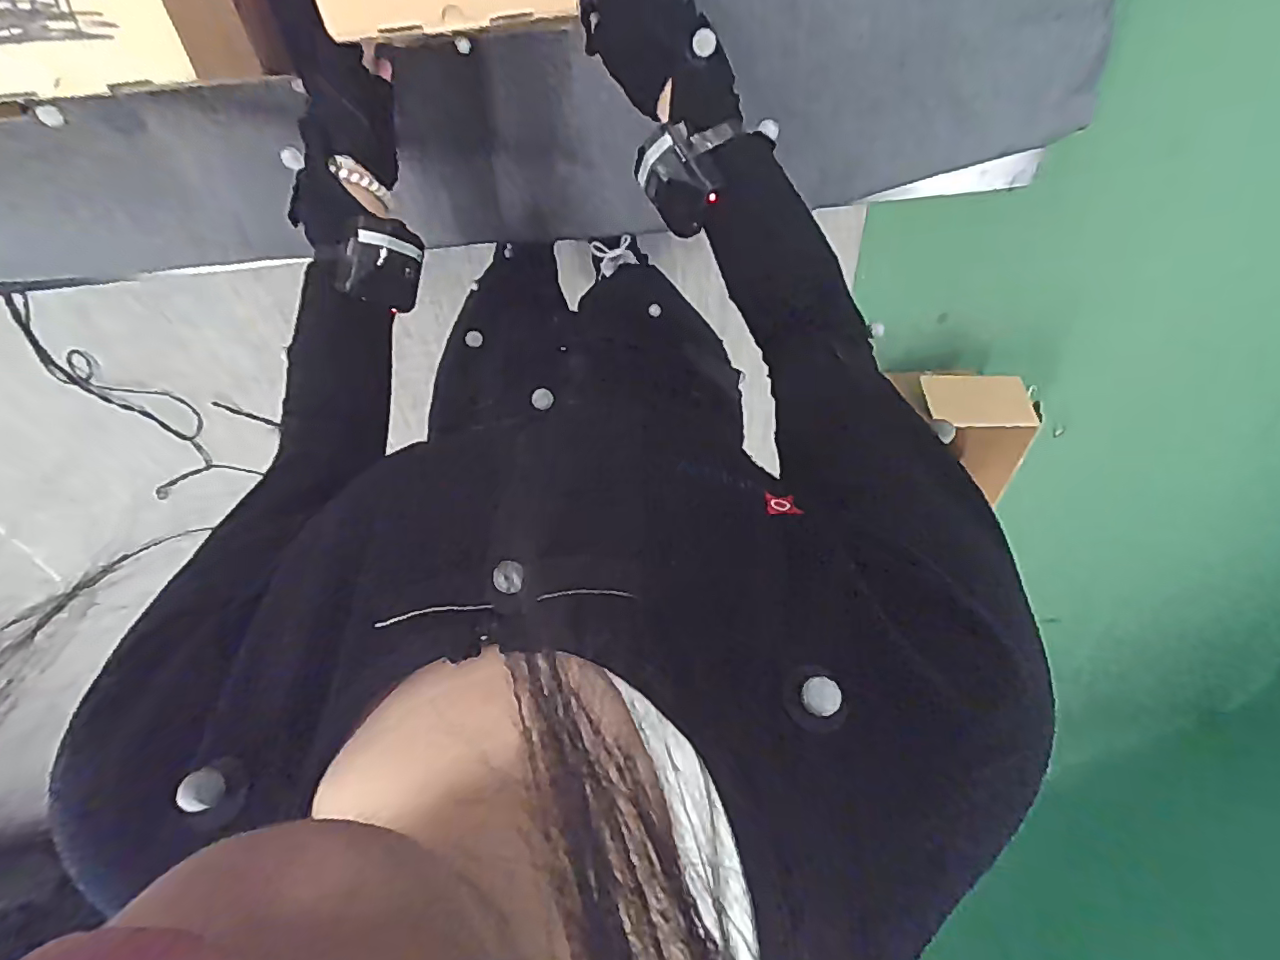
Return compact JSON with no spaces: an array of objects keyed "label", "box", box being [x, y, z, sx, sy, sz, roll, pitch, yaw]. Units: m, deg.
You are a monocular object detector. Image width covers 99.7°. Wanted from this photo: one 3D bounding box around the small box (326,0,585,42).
[{"label":"small box","box":[-0.135,-0.415,0.365,0.168,0.176,0.179,-9,130,-3]}]
